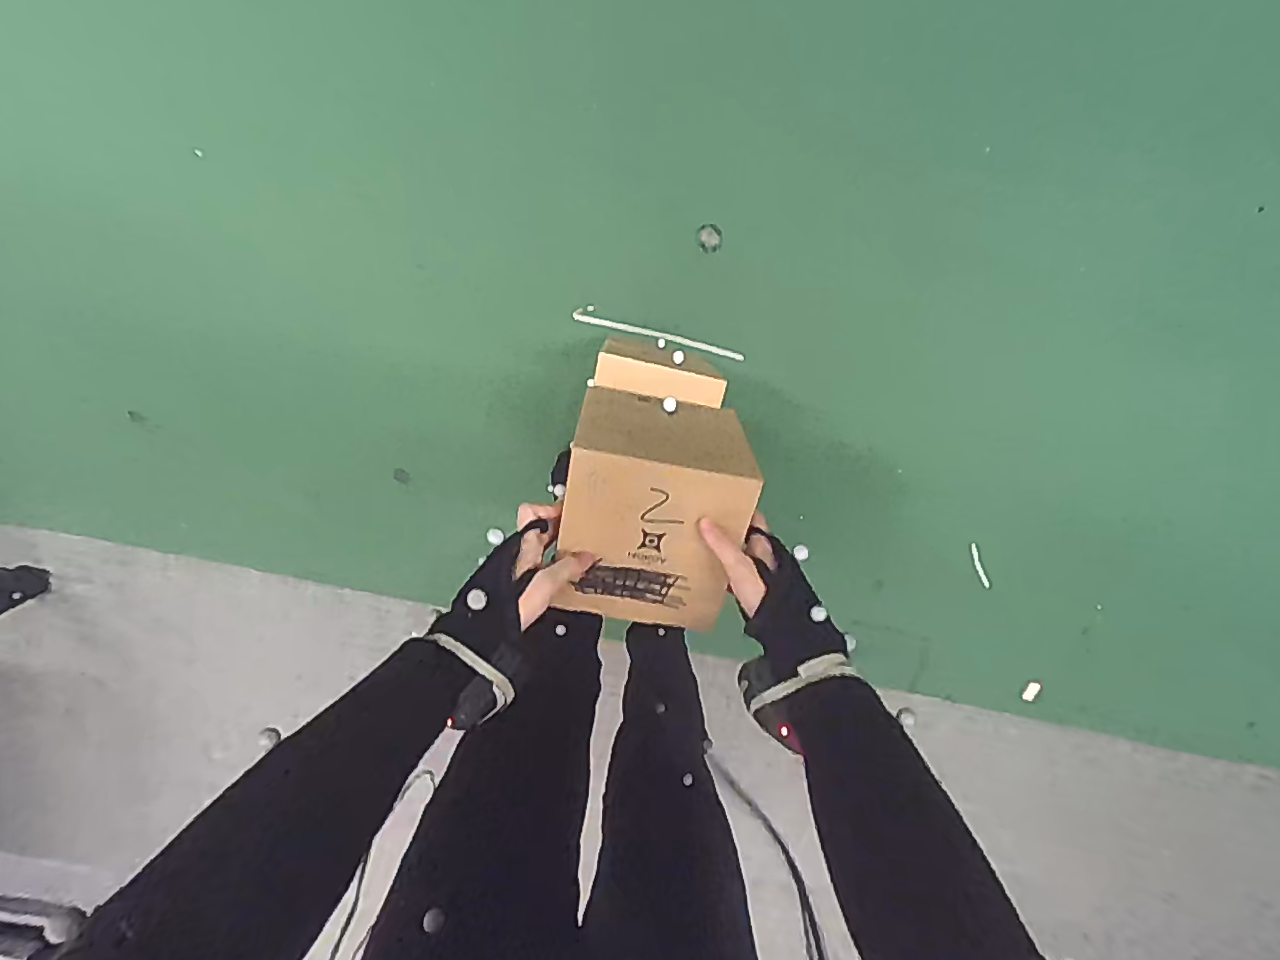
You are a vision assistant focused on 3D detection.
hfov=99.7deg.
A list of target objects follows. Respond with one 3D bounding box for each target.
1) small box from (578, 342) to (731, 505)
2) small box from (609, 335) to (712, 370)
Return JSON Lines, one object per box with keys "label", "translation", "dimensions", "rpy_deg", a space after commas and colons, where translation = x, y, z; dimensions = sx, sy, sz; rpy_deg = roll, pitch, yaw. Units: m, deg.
{"label": "small box", "translation": [0.013, -0.089, 0.767], "dimensions": [0.168, 0.176, 0.179], "rpy_deg": [13, 108, -6]}
{"label": "small box", "translation": [0.009, -0.141, 0.920], "dimensions": [0.168, 0.176, 0.179], "rpy_deg": [14, 108, -5]}
